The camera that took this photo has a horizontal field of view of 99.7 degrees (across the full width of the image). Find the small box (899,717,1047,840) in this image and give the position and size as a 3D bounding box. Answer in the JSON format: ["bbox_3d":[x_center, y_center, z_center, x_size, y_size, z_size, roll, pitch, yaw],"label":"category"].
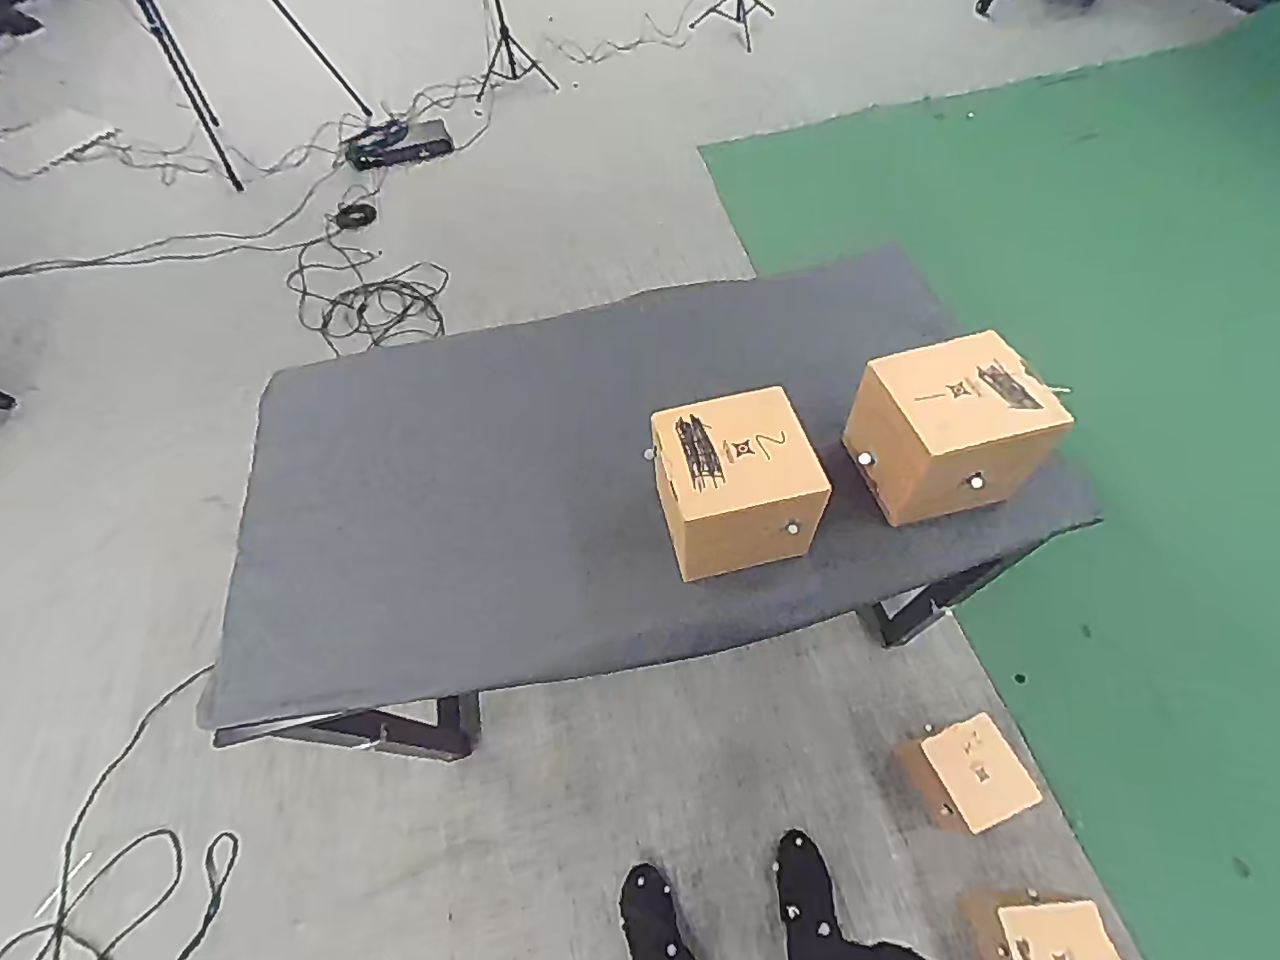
[{"bbox_3d":[0.689,0.627,1.143,0.168,0.176,0.179,-20,60,-7],"label":"small box"}]

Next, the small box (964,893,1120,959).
[{"bbox_3d":[0.742,0.876,0.991,0.179,0.176,0.168,-6,60,2],"label":"small box"}]

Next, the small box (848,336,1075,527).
[{"bbox_3d":[0.405,-0.059,0.721,0.179,0.176,0.168,-13,55,-1],"label":"small box"}]
